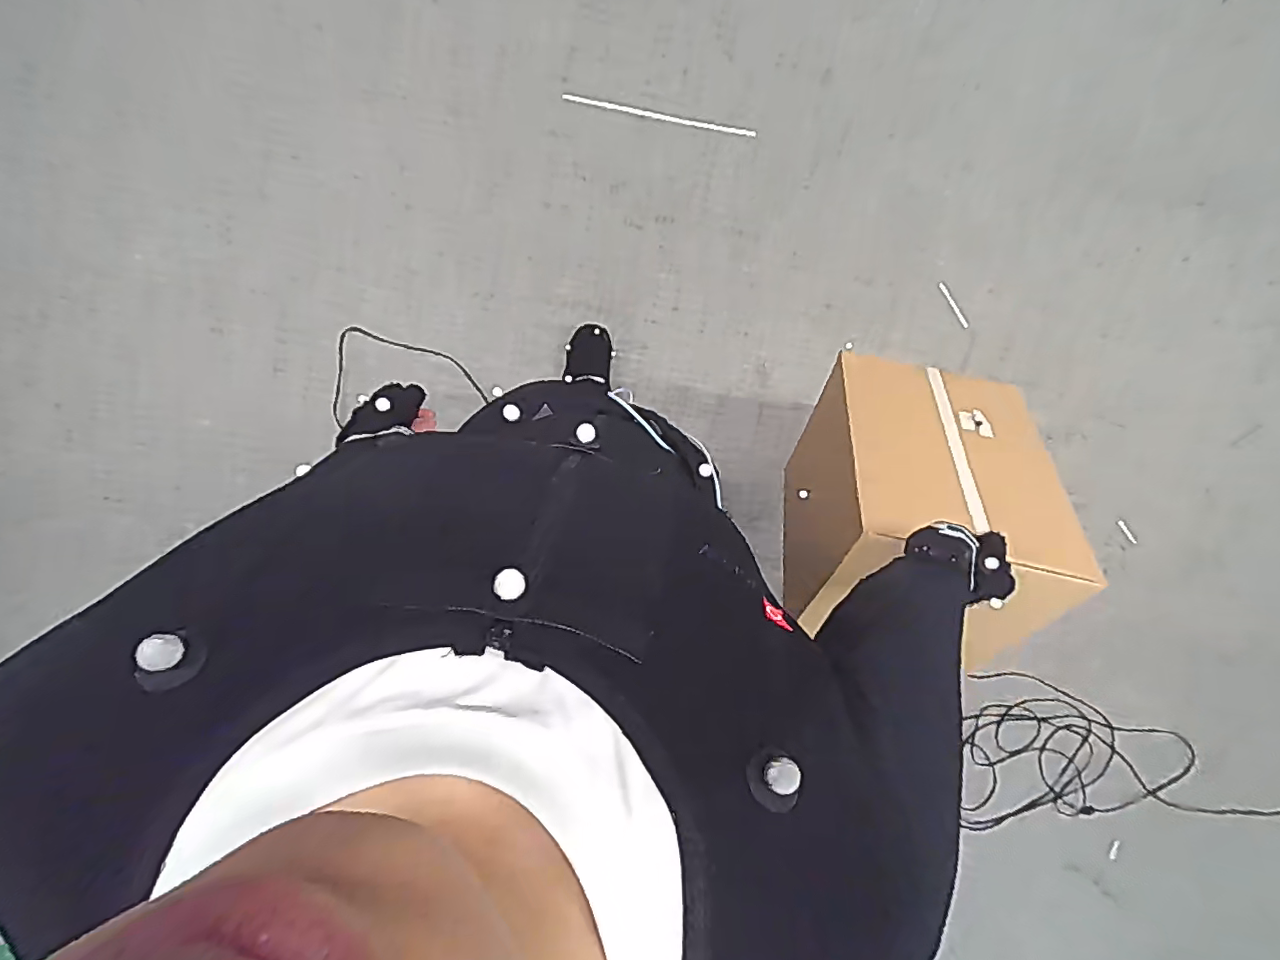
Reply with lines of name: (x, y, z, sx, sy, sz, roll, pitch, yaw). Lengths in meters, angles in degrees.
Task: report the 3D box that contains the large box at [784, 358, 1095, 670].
large box: (0.448, 0.055, 0.934, 0.320, 0.408, 0.320, 13, 137, 1)
